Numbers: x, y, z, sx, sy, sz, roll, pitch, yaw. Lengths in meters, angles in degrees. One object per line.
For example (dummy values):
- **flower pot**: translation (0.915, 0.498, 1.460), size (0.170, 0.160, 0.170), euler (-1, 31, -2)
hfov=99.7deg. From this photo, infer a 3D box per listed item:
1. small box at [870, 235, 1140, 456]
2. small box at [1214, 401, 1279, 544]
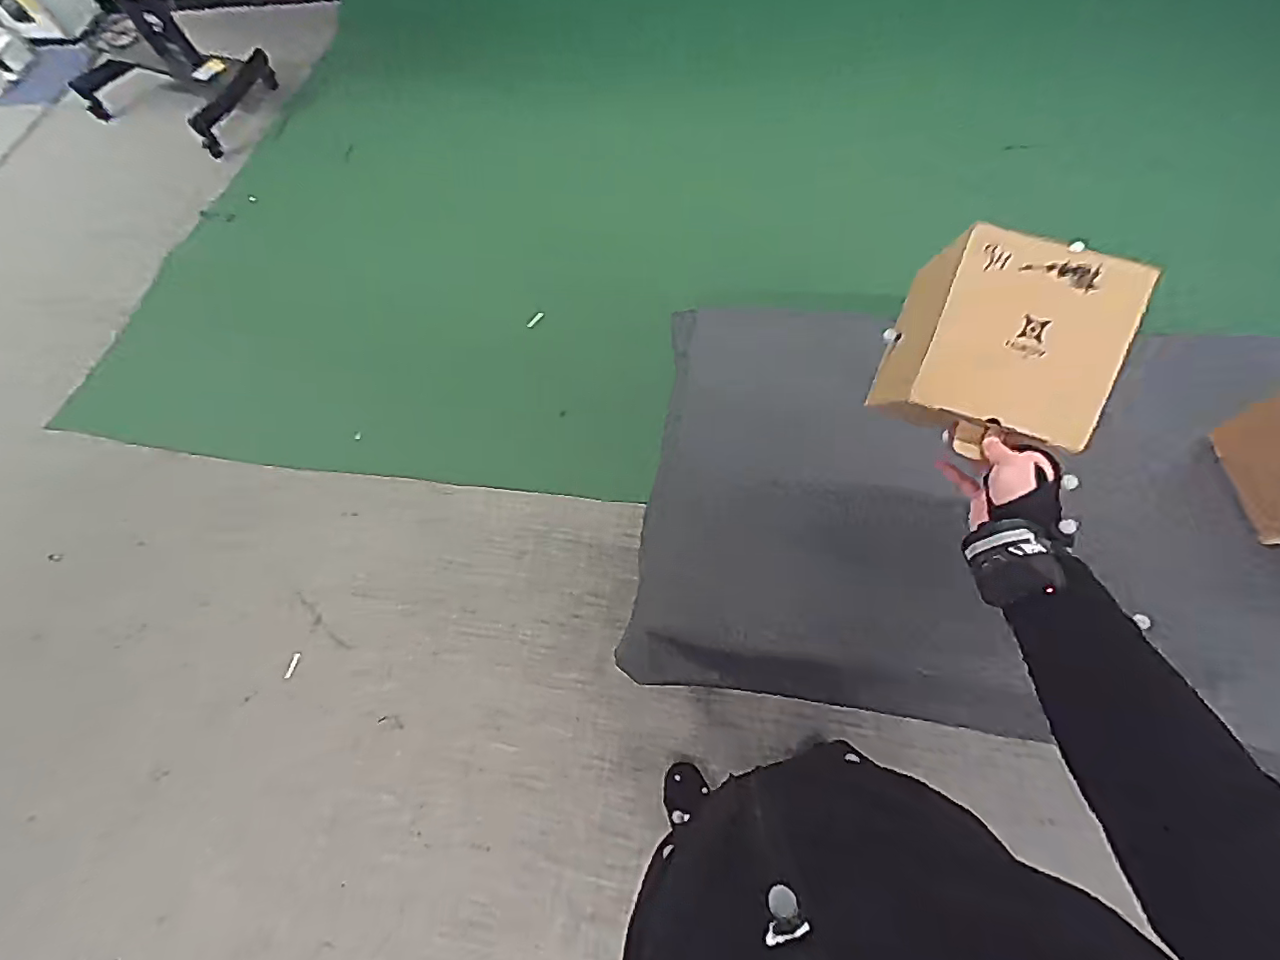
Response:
- **small box**: translation (0.375, -0.134, 0.599), size (0.168, 0.176, 0.179), euler (20, 95, 7)
- **small box**: translation (0.917, -0.015, 0.686), size (0.168, 0.176, 0.179), euler (-1, 62, 5)
